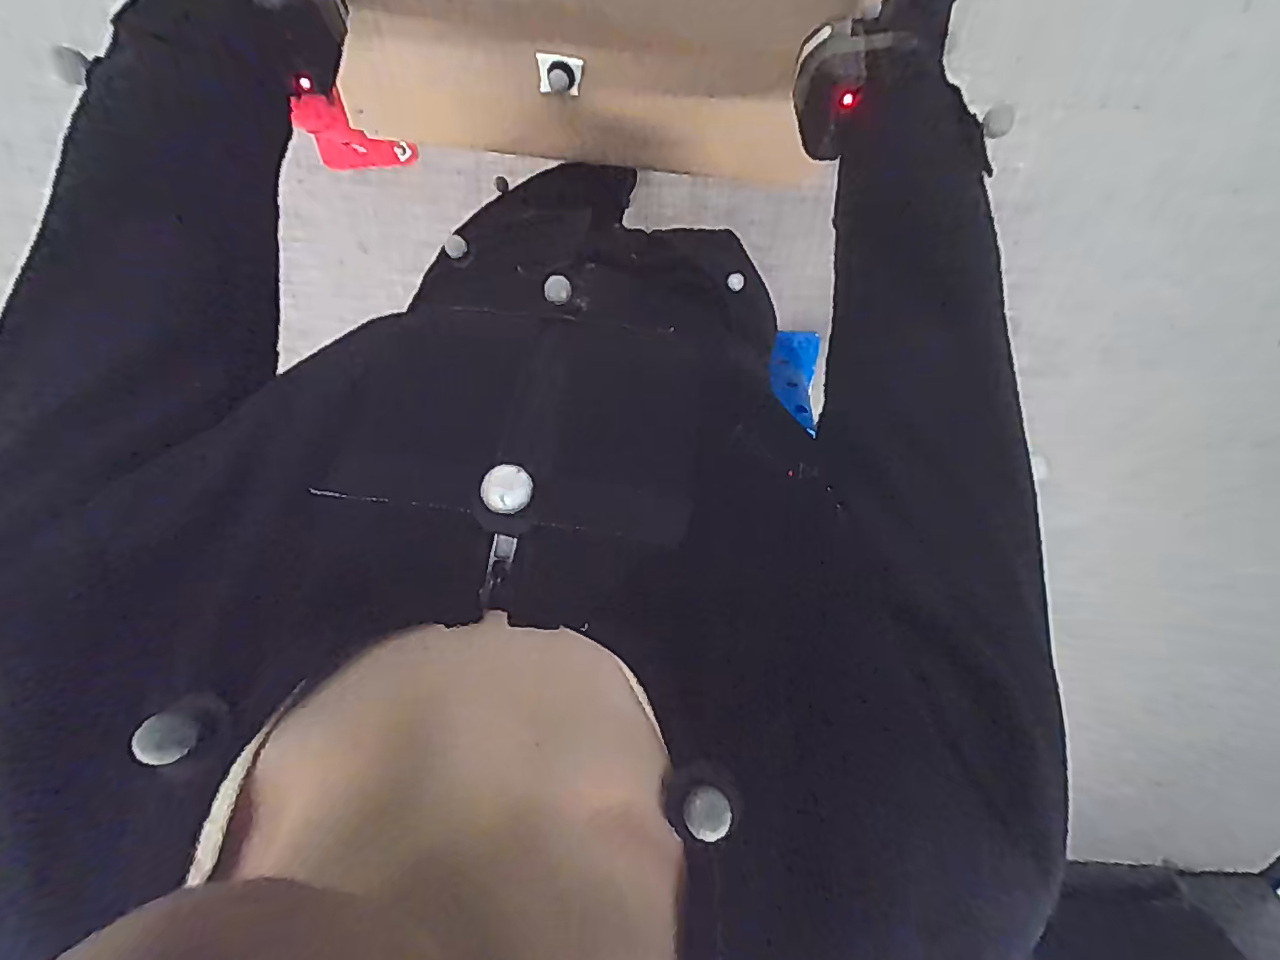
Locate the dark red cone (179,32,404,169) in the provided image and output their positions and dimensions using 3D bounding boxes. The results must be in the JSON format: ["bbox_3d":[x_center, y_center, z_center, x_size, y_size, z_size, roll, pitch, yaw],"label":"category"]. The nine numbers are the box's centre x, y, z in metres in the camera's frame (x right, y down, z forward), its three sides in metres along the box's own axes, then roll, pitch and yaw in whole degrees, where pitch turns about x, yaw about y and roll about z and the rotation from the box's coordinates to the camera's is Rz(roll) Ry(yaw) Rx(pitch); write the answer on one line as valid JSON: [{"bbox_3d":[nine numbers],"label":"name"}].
[{"bbox_3d":[-0.566,-0.631,0.872,0.202,0.394,0.201,-3,118,5],"label":"dark red cone"}]

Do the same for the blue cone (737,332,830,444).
[{"bbox_3d":[0.326,-0.175,1.147,0.192,0.380,0.193,3,121,0],"label":"blue cone"}]
